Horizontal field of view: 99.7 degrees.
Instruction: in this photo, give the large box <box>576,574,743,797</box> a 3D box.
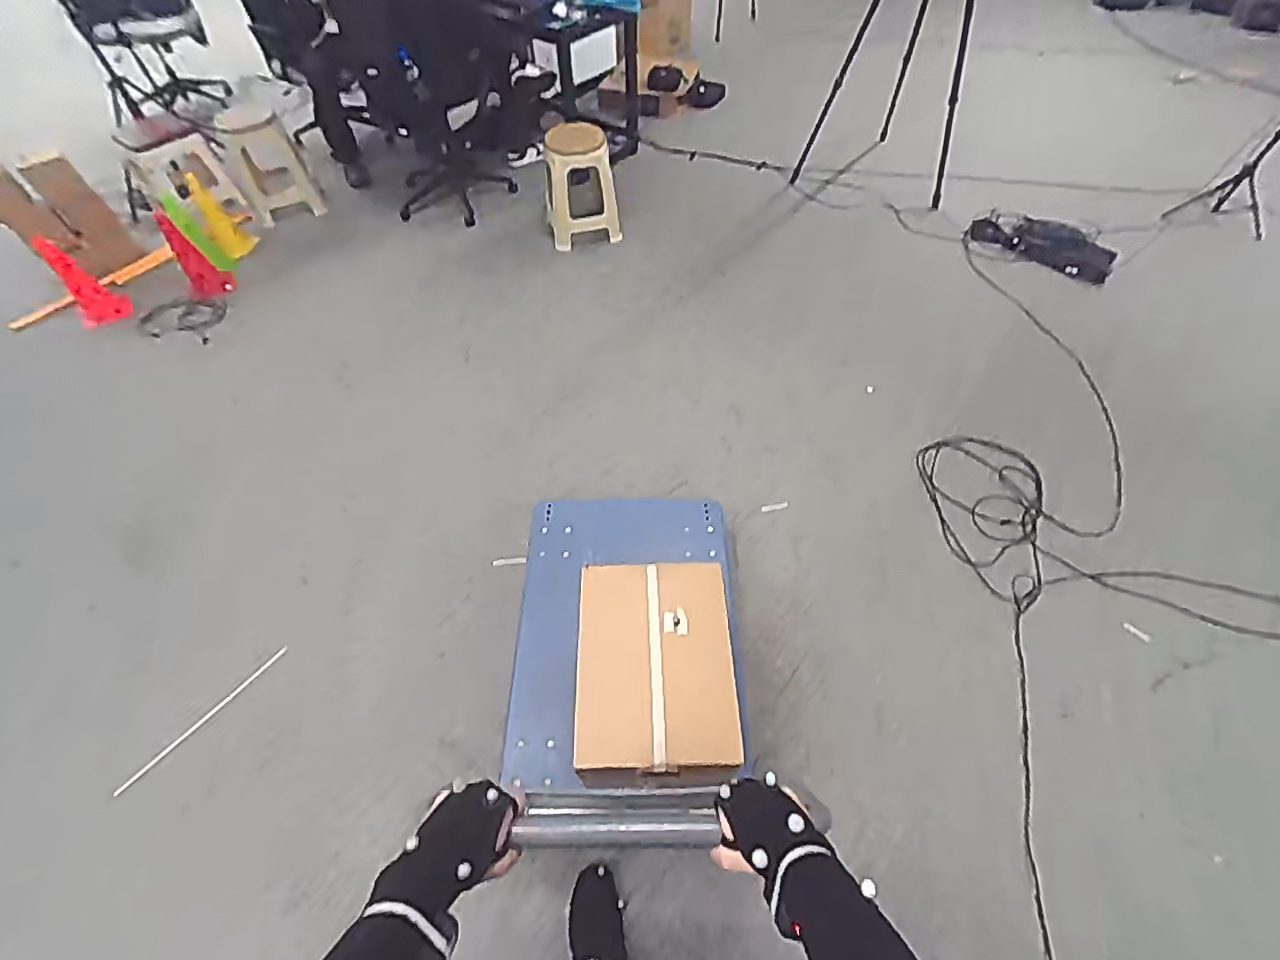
[{"bbox_3d":[0.031,0.466,1.226,0.320,0.320,0.408,-1,53,-1],"label":"large box"}]
